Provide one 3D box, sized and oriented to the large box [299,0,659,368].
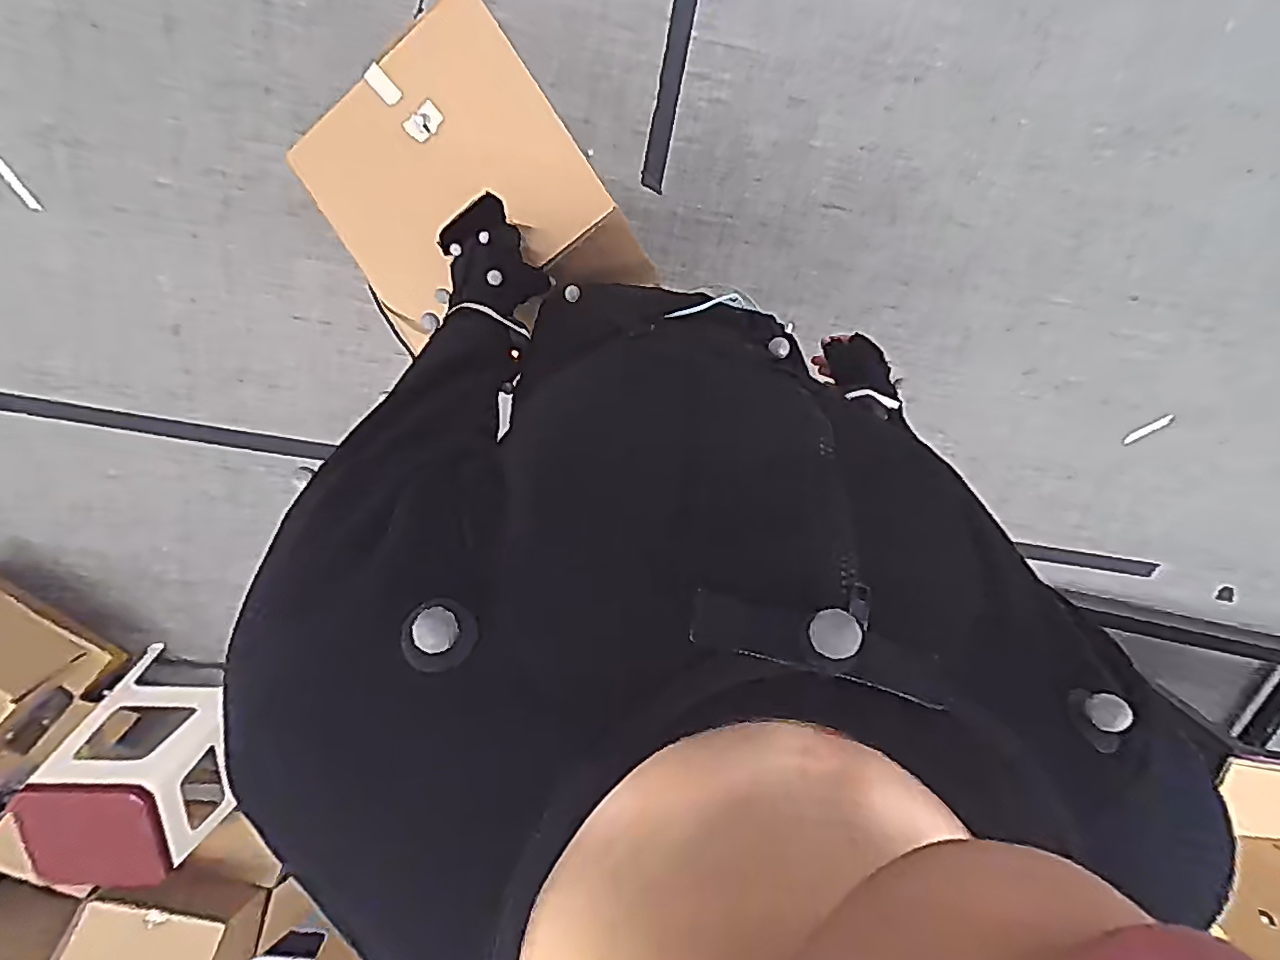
[{"bbox_3d":[-0.207,-0.397,0.854,0.320,0.408,0.320,-32,93,14],"label":"large box"}]
